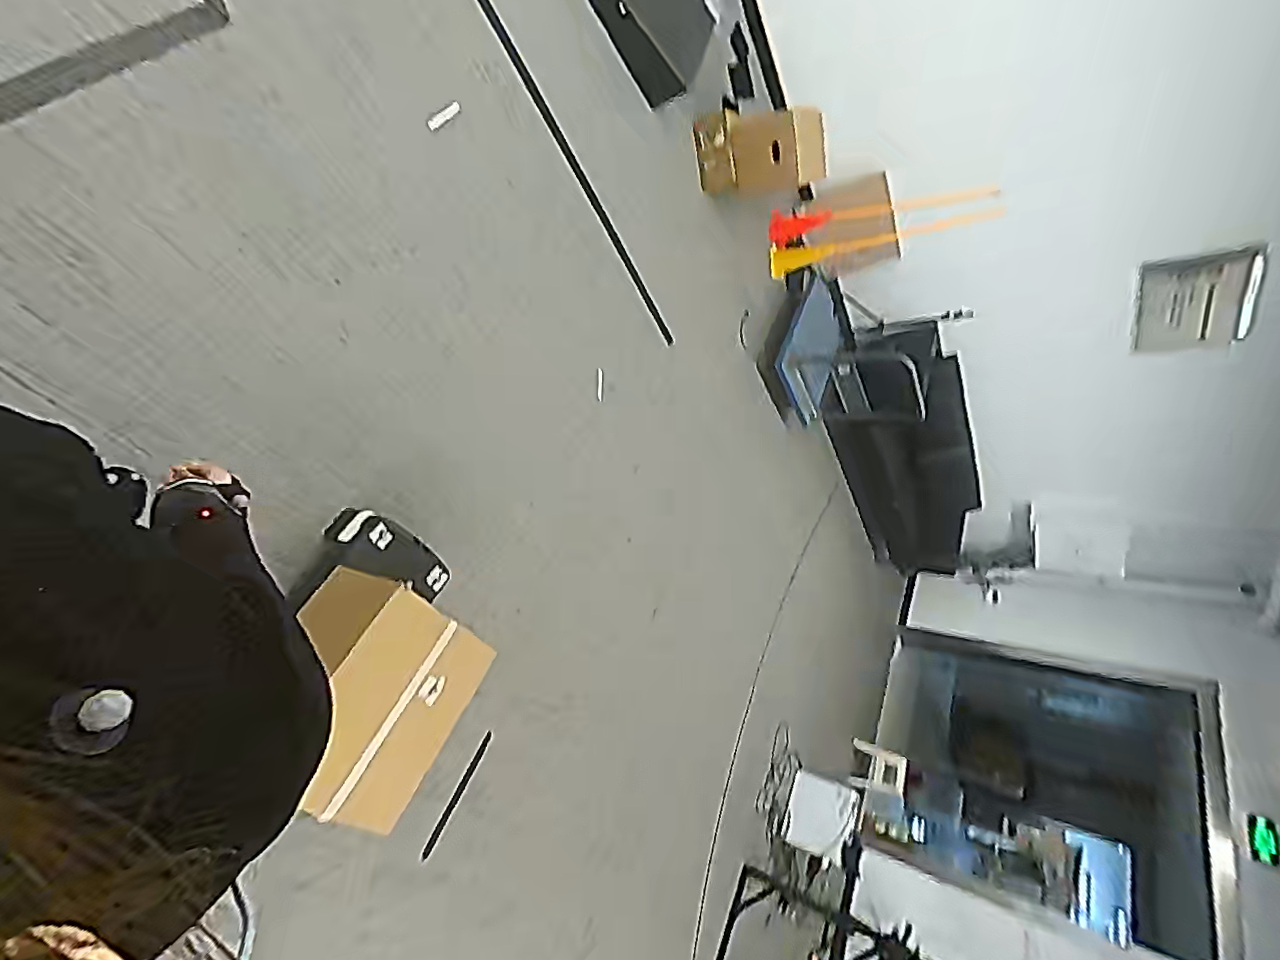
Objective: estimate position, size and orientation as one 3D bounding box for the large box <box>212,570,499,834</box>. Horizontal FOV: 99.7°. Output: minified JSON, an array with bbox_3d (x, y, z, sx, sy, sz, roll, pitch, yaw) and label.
[{"bbox_3d":[-0.594,0.456,1.166,0.320,0.320,0.408,54,51,-37],"label":"large box"}]
